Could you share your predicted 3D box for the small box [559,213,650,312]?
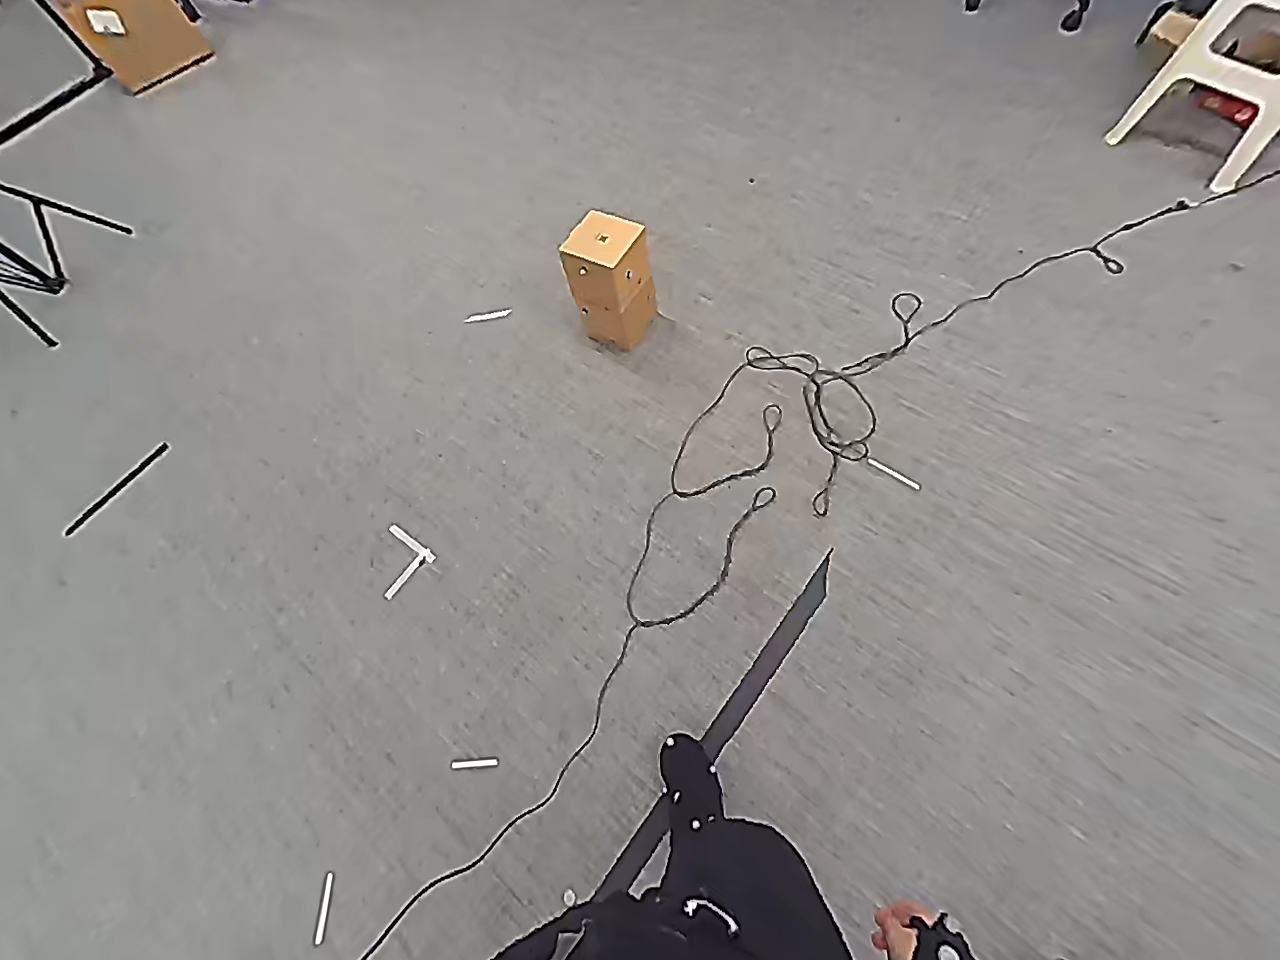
[{"bbox_3d":[-0.088,-0.587,1.478,0.179,0.176,0.168,25,70,19],"label":"small box"}]
